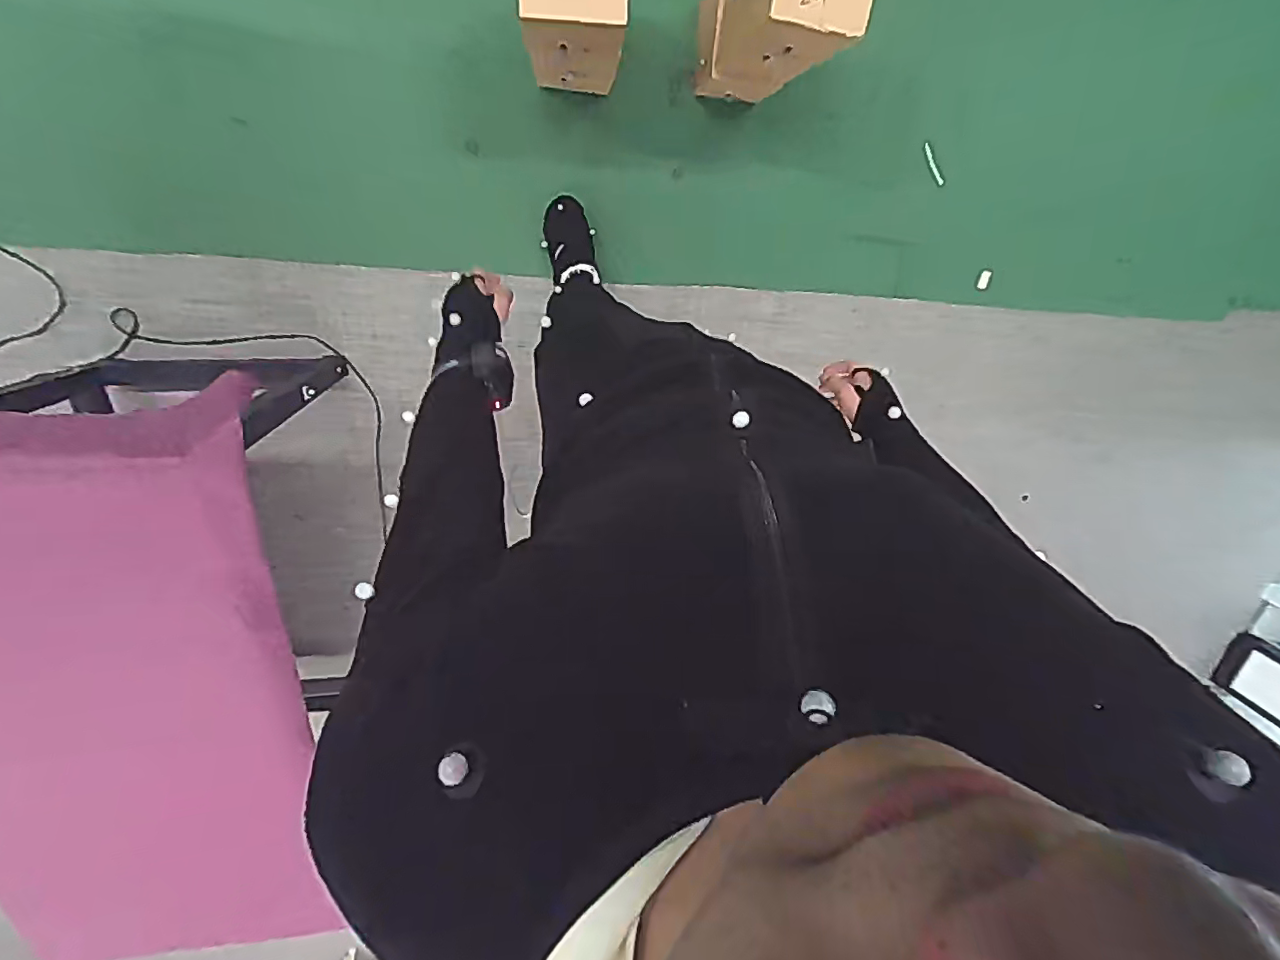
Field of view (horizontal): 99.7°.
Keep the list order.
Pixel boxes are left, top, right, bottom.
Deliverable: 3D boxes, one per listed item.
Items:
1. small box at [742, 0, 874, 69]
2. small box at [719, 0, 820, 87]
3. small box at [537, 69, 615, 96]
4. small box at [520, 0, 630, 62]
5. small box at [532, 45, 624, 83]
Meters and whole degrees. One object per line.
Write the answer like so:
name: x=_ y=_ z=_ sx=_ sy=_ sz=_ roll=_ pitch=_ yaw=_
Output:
small box: x=0.284 y=-0.827 z=0.901 sx=0.168 sy=0.176 sz=0.179 roll=4 pitch=115 yaw=-11
small box: x=0.263 y=-0.900 z=1.048 sx=0.168 sy=0.176 sz=0.179 roll=4 pitch=114 yaw=-11
small box: x=-0.132 y=-0.944 z=1.151 sx=0.168 sy=0.176 sz=0.179 roll=1 pitch=113 yaw=-9
small box: x=-0.104 y=-0.801 z=0.858 sx=0.168 sy=0.176 sz=0.179 roll=-1 pitch=114 yaw=-7
small box: x=-0.118 y=-0.870 z=1.005 sx=0.168 sy=0.176 sz=0.179 roll=-1 pitch=115 yaw=-8
